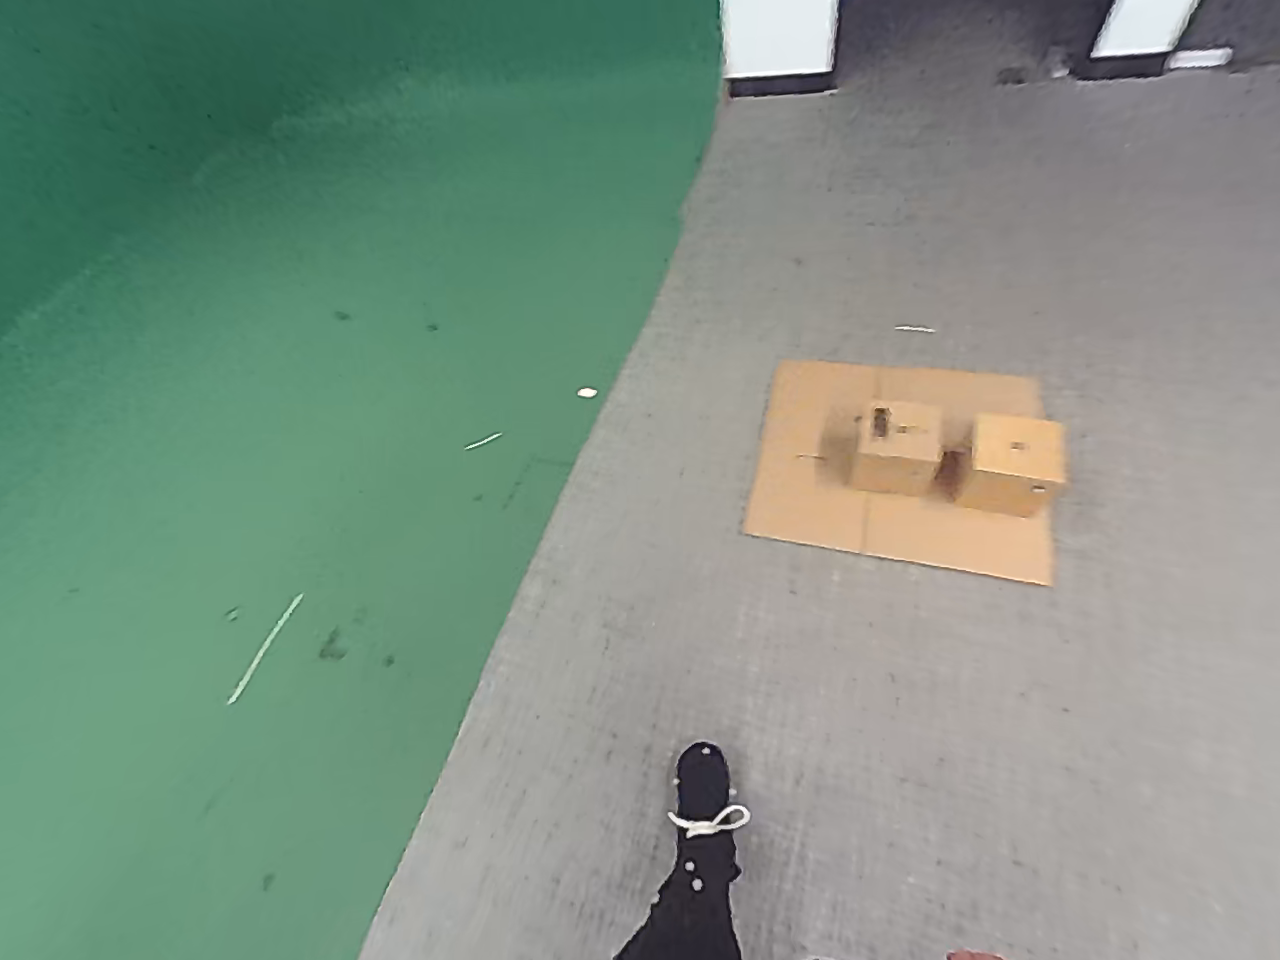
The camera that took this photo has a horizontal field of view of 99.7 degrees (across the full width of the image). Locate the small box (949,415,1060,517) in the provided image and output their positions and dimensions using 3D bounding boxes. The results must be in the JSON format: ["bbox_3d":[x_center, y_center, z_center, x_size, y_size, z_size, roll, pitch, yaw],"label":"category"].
[{"bbox_3d":[0.851,-0.029,1.279,0.179,0.176,0.168,10,61,17],"label":"small box"}]
